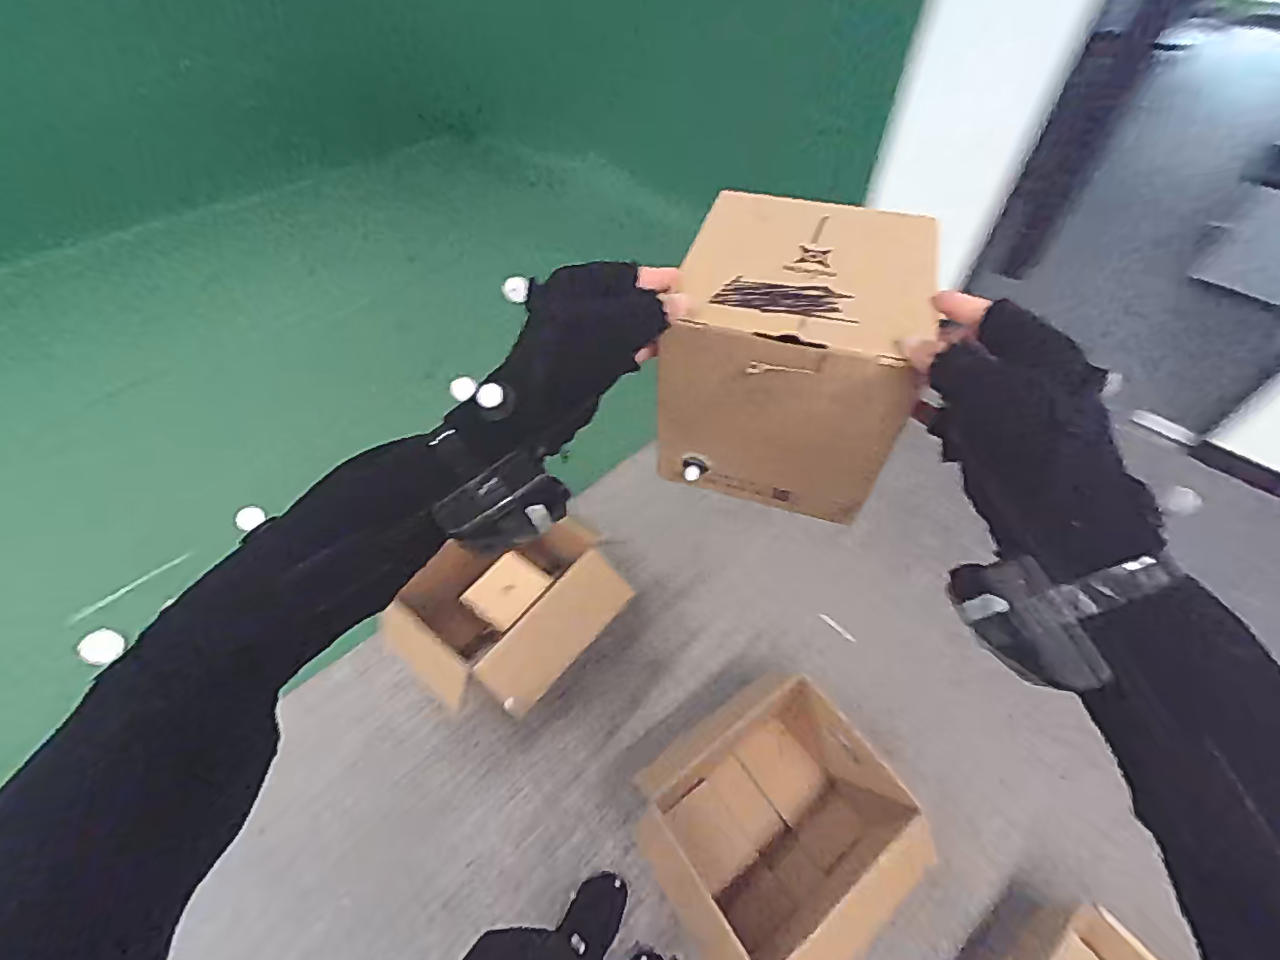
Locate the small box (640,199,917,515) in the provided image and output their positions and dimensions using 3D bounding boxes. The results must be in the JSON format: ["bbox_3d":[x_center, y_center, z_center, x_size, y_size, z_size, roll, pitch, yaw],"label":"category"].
[{"bbox_3d":[0.106,-0.096,0.436,0.168,0.176,0.179,13,54,12],"label":"small box"}]
